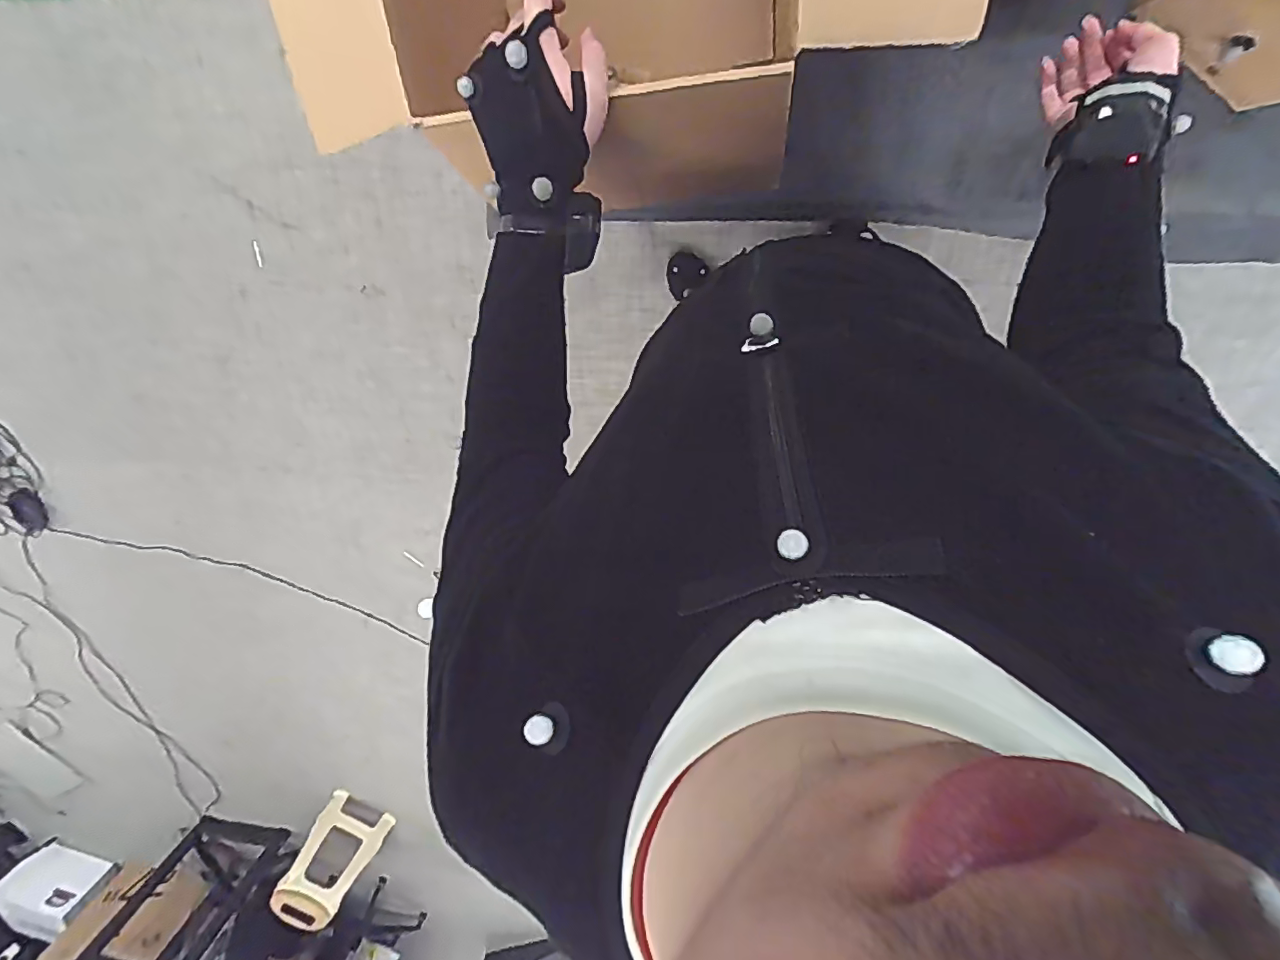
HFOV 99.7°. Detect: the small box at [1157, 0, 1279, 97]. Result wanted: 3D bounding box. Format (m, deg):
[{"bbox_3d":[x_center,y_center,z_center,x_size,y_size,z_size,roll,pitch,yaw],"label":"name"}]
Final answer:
[{"bbox_3d":[0.603,-0.465,0.454,0.168,0.176,0.179,34,119,-7],"label":"small box"}]
